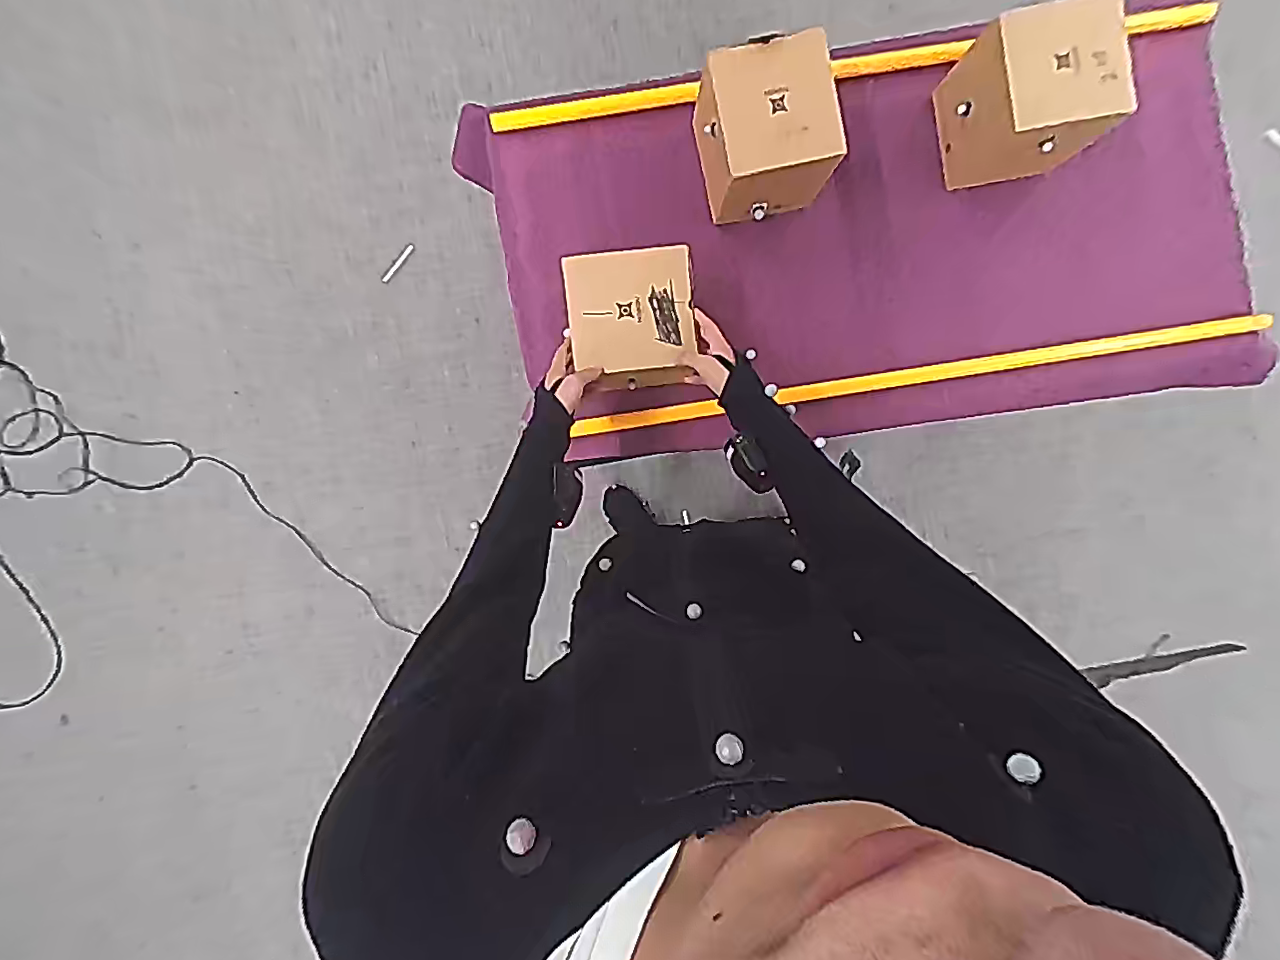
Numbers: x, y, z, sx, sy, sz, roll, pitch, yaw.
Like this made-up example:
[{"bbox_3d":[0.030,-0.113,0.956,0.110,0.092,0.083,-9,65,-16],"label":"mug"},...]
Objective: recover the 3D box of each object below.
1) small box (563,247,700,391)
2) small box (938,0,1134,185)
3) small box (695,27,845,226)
[{"bbox_3d":[-0.014,-0.232,0.818,0.179,0.176,0.168,-6,92,-1],"label":"small box"},{"bbox_3d":[0.582,-0.578,0.822,0.179,0.176,0.168,-10,93,-1],"label":"small box"},{"bbox_3d":[0.184,-0.520,0.818,0.168,0.176,0.179,-12,92,0],"label":"small box"}]
